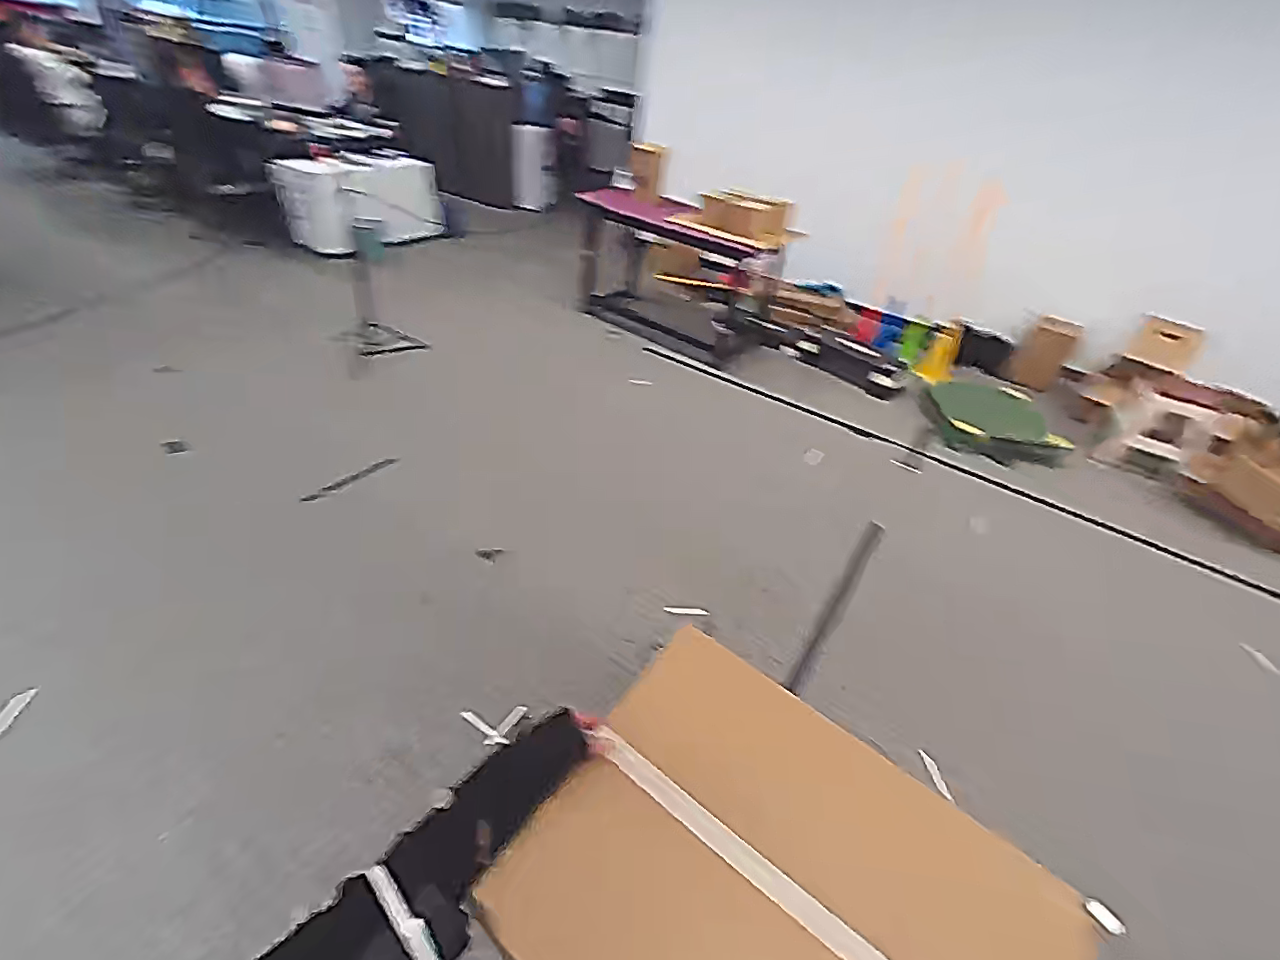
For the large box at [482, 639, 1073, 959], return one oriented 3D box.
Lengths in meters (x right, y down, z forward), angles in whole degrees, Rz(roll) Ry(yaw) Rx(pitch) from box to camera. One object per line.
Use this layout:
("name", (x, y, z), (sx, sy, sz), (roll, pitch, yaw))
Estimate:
("large box", (0.103, 0.449, 0.538), (0.408, 0.320, 0.320), (31, 48, 22))
